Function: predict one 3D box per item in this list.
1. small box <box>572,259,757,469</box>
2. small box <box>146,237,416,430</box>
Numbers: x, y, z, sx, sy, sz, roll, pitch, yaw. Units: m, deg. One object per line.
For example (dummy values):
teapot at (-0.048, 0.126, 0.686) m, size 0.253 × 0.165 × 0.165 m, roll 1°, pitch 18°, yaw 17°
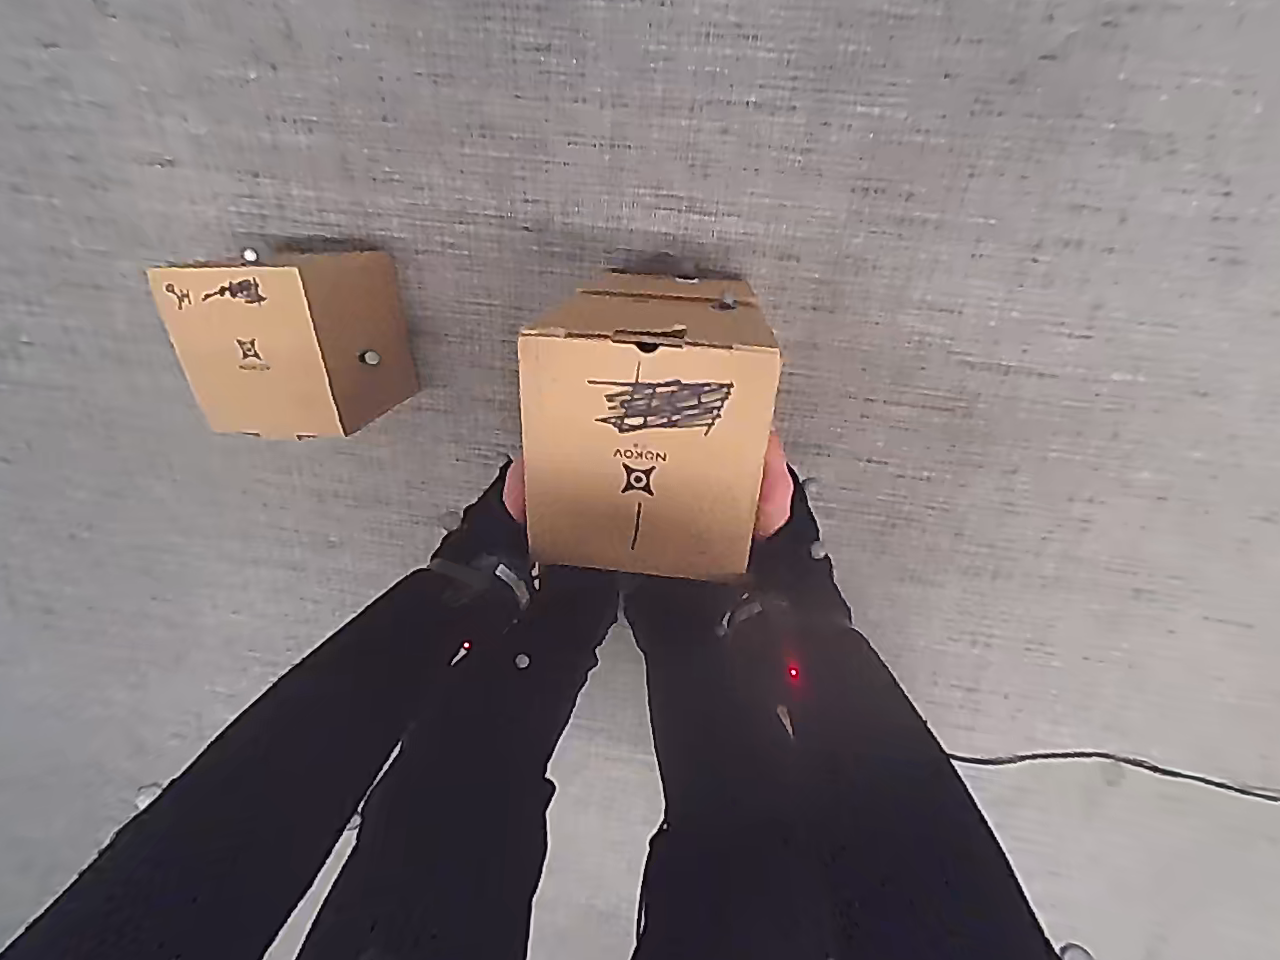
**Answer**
small box at (0.028, -0.131, 0.577) m, size 0.168 × 0.176 × 0.179 m, roll 5°, pitch 117°, yaw 5°
small box at (-0.383, -0.174, 0.619) m, size 0.168 × 0.176 × 0.179 m, roll 3°, pitch 119°, yaw 7°
